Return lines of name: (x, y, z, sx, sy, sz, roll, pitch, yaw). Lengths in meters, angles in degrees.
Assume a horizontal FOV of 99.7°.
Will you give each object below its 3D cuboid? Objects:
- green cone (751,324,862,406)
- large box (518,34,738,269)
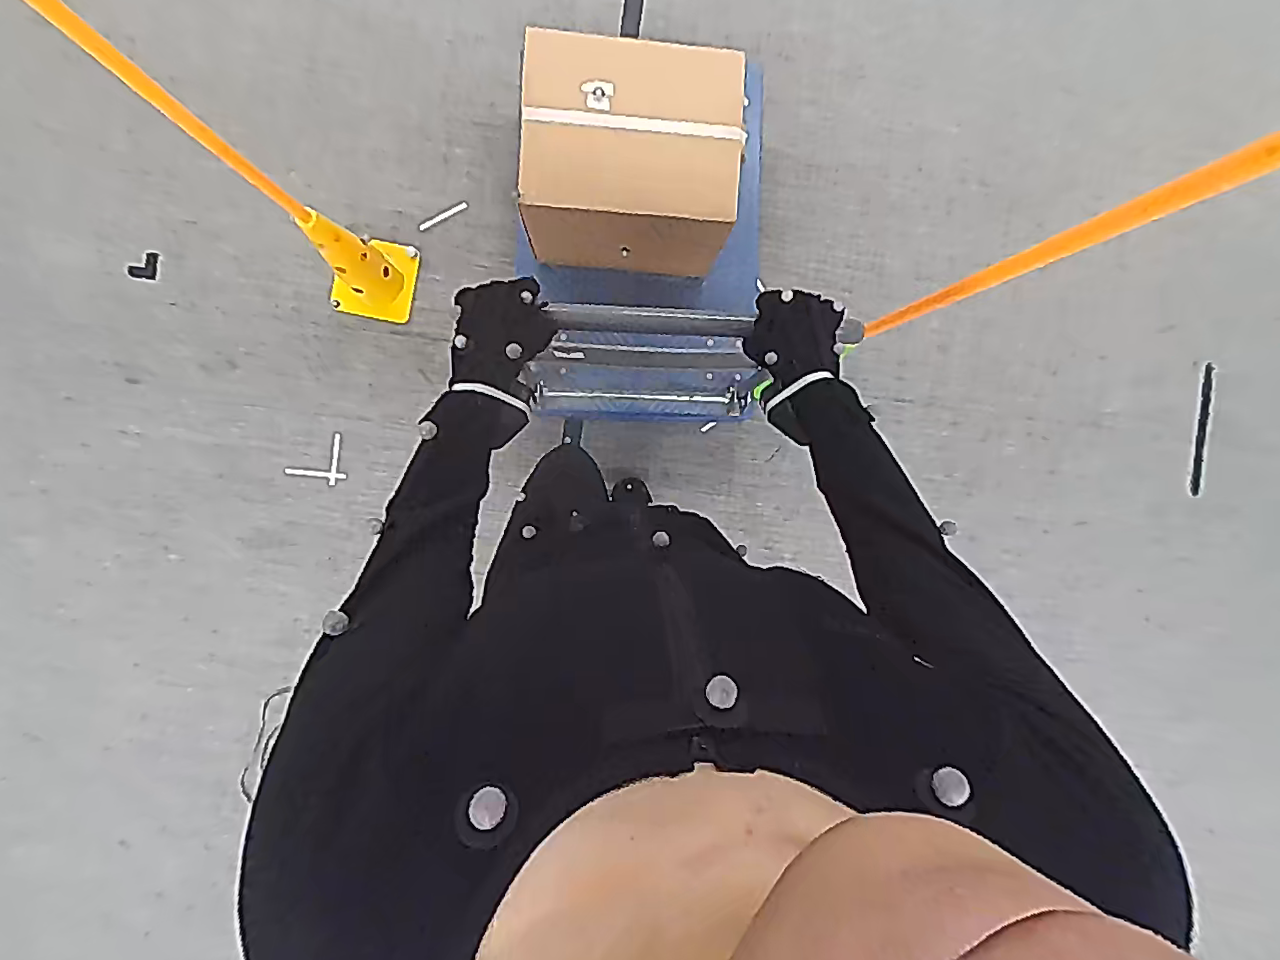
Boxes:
green cone: (0.434, -0.315, 1.332, 0.202, 0.368, 0.200, 11, 91, -6)
large box: (-0.027, -0.657, 1.145, 0.408, 0.320, 0.320, 3, 92, -3)
